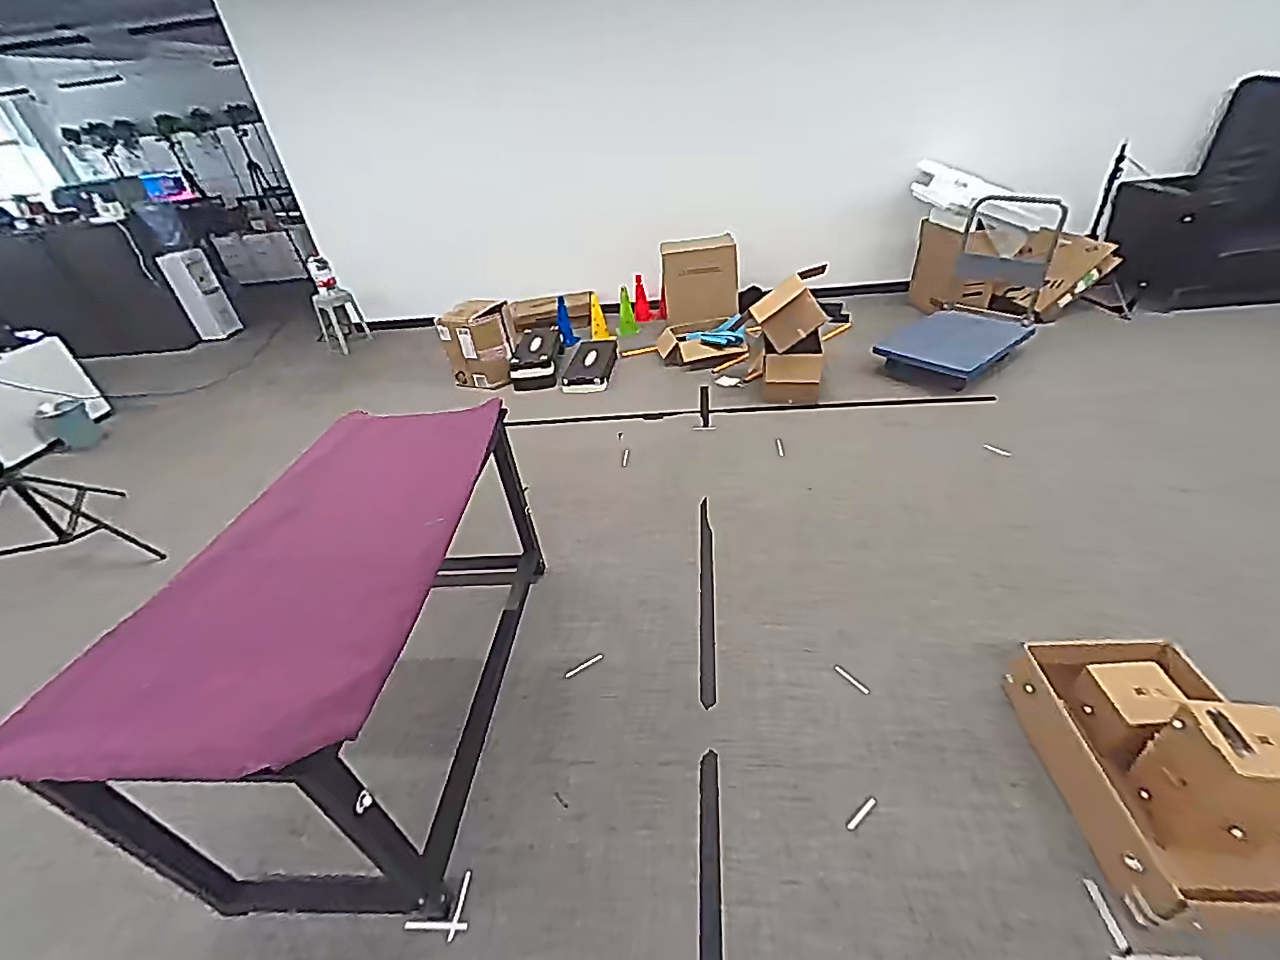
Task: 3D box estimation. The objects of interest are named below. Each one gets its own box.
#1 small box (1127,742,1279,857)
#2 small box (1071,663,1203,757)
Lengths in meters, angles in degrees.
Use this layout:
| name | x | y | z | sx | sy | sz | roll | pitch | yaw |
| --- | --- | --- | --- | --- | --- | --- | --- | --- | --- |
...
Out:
| name | x | y | z | sx | sy | sz | roll | pitch | yaw |
| --- | --- | --- | --- | --- | --- | --- | --- | --- | --- |
| small box | 1.275 | 0.726 | 1.227 | 0.179 | 0.176 | 0.168 | -1 | 33 | 10 |
| small box | 1.267 | 0.598 | 1.401 | 0.179 | 0.176 | 0.168 | -4 | 37 | 5 |
